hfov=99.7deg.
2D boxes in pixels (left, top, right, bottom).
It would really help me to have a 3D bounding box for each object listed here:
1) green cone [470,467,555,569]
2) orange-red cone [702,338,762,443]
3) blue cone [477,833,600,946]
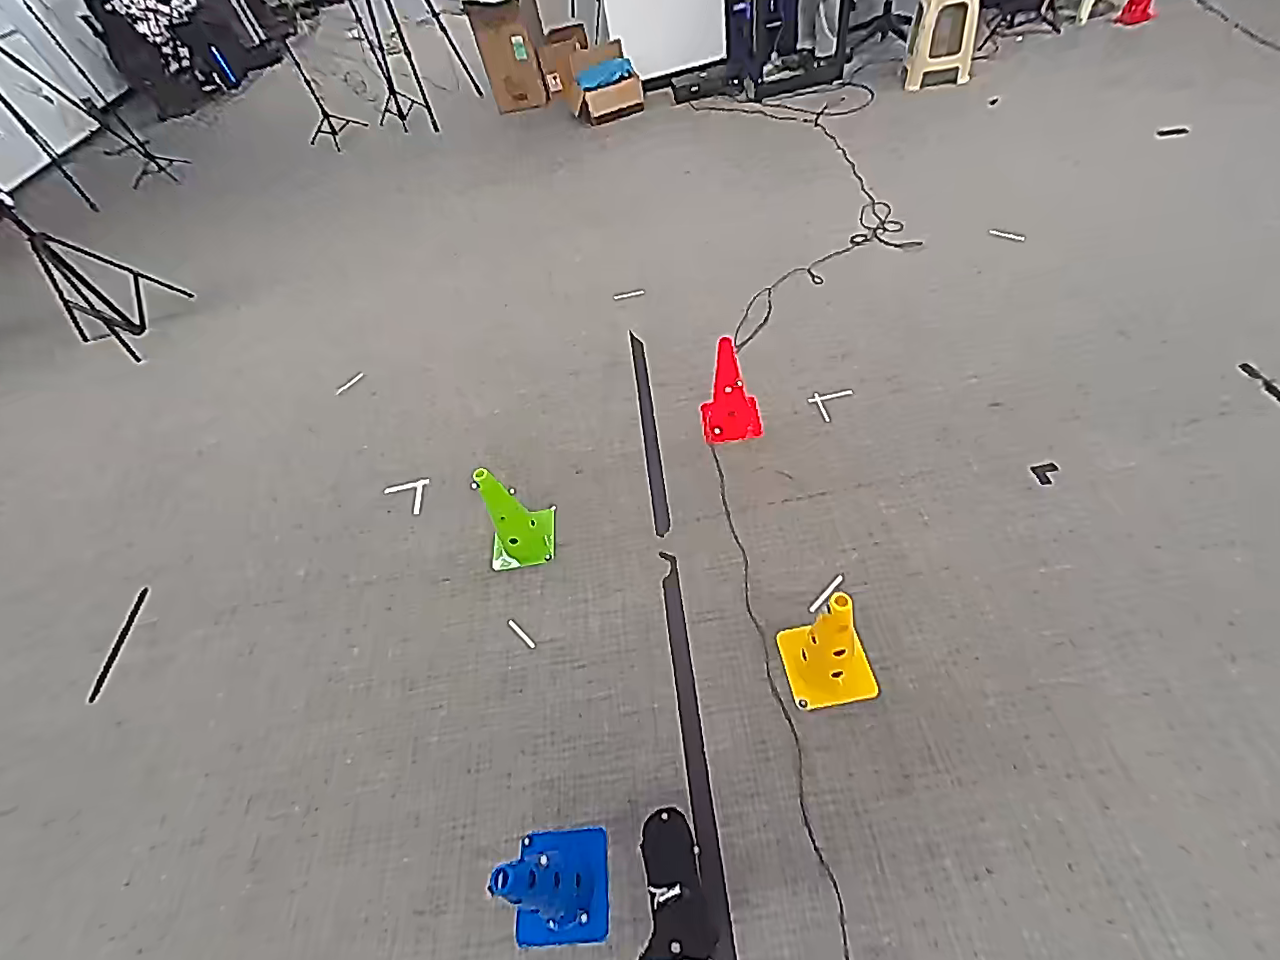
[{"bbox_3d":[-0.404,0.082,1.609,0.202,0.368,0.200,-11,51,6],"label":"green cone"},{"bbox_3d":[0.293,-0.311,1.762,0.199,0.360,0.198,-6,53,7],"label":"orange-red cone"},{"bbox_3d":[-0.210,0.779,1.041,0.192,0.380,0.193,-8,51,8],"label":"blue cone"}]
